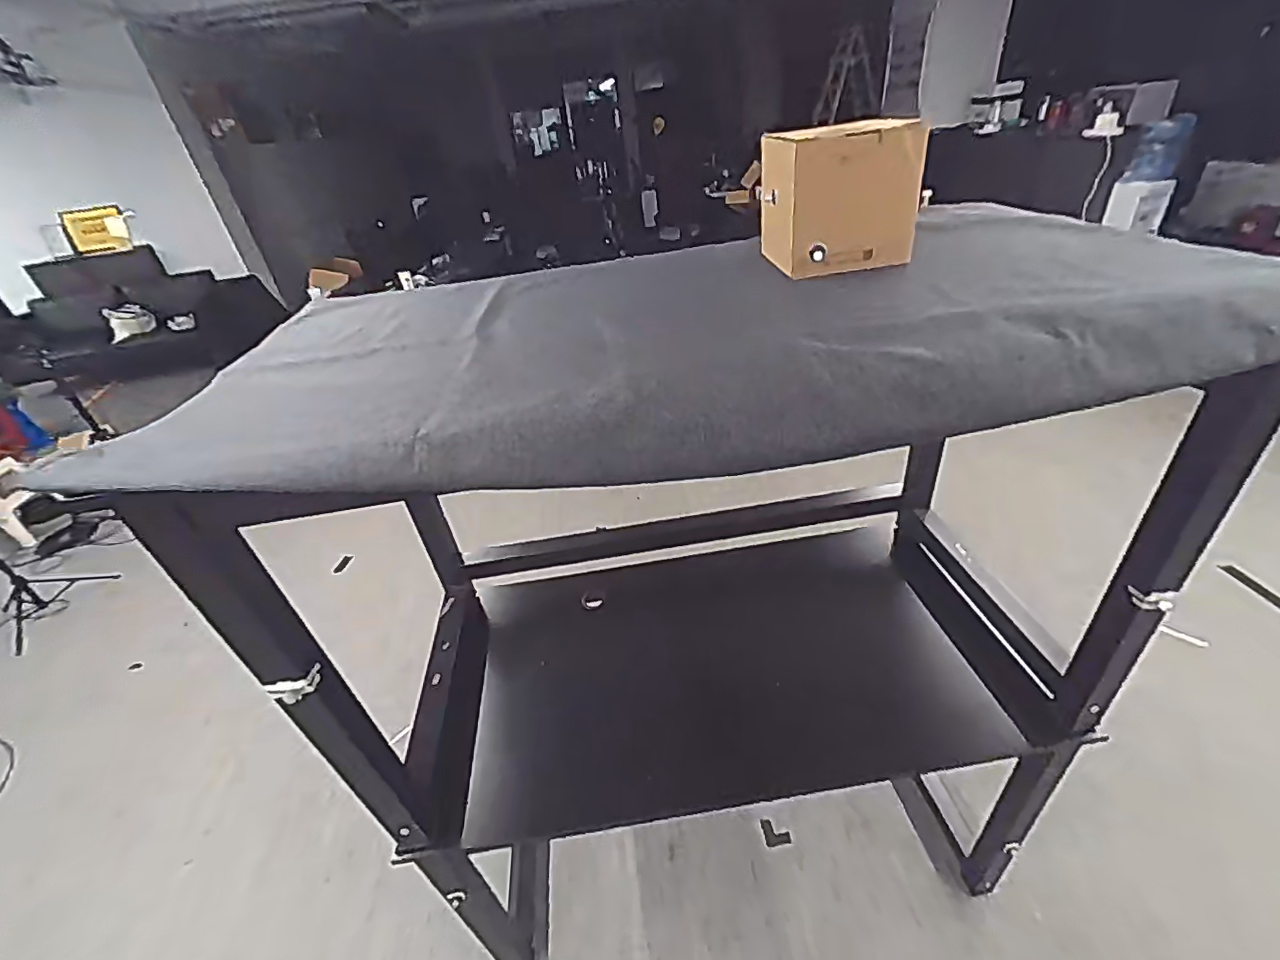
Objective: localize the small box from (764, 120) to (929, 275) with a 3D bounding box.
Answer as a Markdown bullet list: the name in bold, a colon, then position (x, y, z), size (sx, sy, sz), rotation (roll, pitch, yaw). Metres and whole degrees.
- **small box**: position (0.278, -0.398, 0.769), size (0.168, 0.176, 0.179), rotation (-7, 33, 1)
